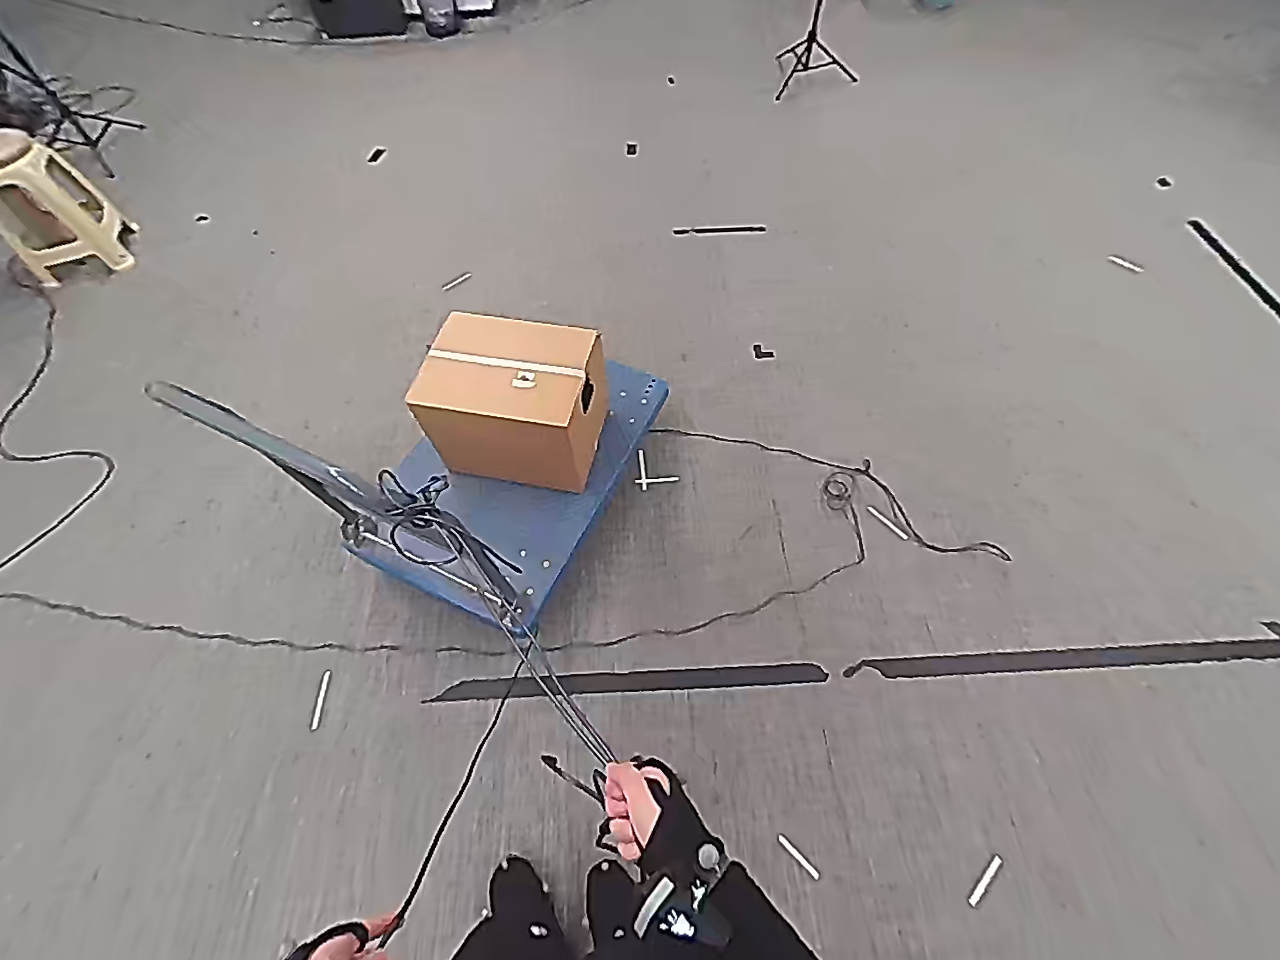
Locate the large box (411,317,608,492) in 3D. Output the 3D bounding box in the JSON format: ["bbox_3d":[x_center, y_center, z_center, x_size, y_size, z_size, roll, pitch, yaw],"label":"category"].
[{"bbox_3d":[-0.318,-0.196,1.453,0.408,0.320,0.320,10,60,6],"label":"large box"}]
